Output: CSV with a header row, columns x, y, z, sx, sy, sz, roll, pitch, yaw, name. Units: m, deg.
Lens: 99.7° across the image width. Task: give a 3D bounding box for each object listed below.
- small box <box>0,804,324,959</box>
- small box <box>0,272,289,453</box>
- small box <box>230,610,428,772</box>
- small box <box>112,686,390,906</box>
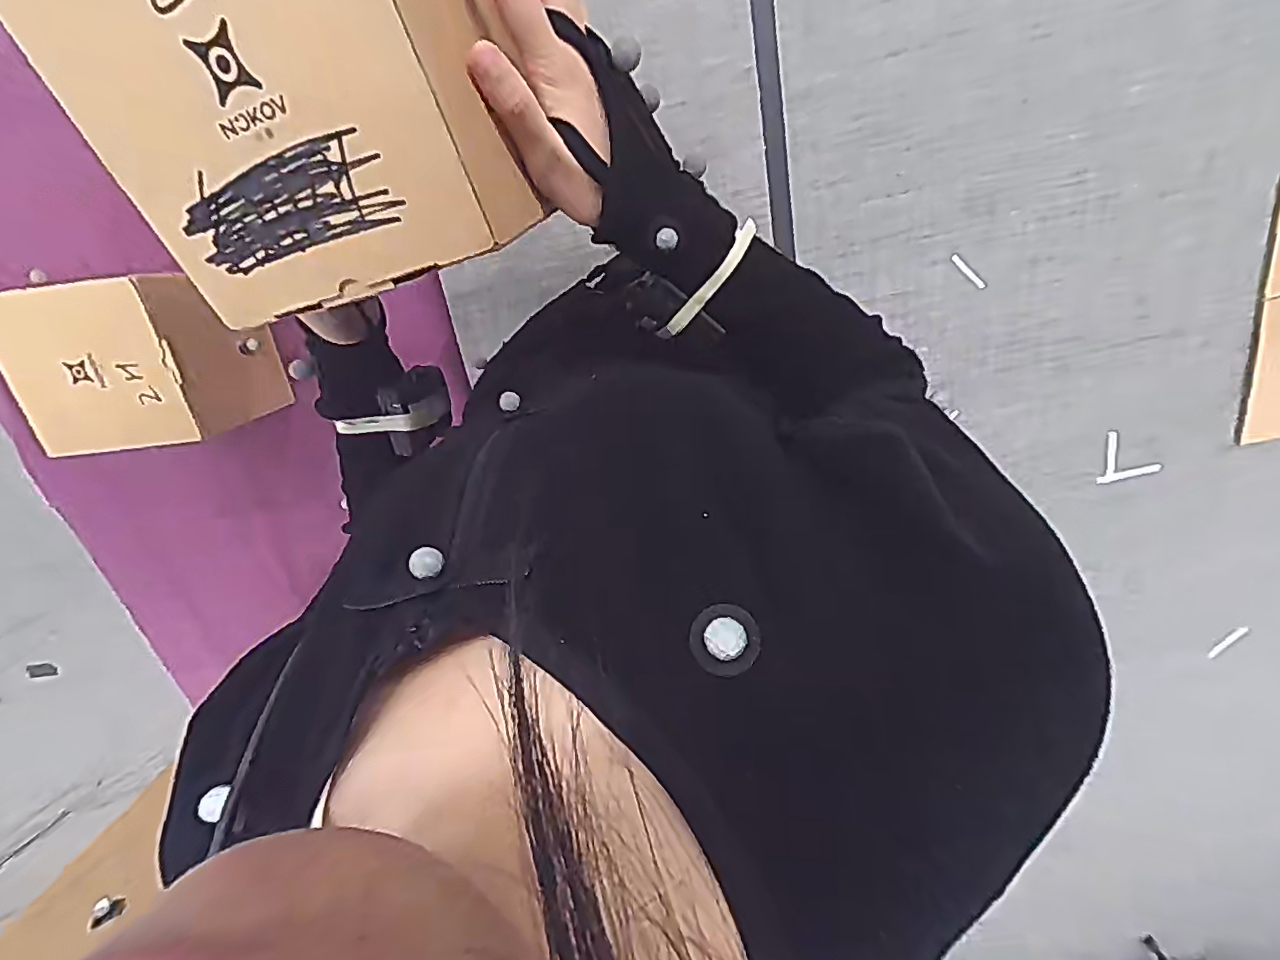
x,y,z,sx,sy,sz,roll,pitch,yaw,name
-0.437,0.432,0.491,0.179,0.176,0.168,-10,112,3,small box
-0.552,-0.140,0.613,0.179,0.176,0.168,-6,113,2,small box
-0.434,0.313,0.798,0.179,0.176,0.168,-10,112,4,small box
-0.439,0.375,0.646,0.179,0.176,0.168,-11,112,5,small box
